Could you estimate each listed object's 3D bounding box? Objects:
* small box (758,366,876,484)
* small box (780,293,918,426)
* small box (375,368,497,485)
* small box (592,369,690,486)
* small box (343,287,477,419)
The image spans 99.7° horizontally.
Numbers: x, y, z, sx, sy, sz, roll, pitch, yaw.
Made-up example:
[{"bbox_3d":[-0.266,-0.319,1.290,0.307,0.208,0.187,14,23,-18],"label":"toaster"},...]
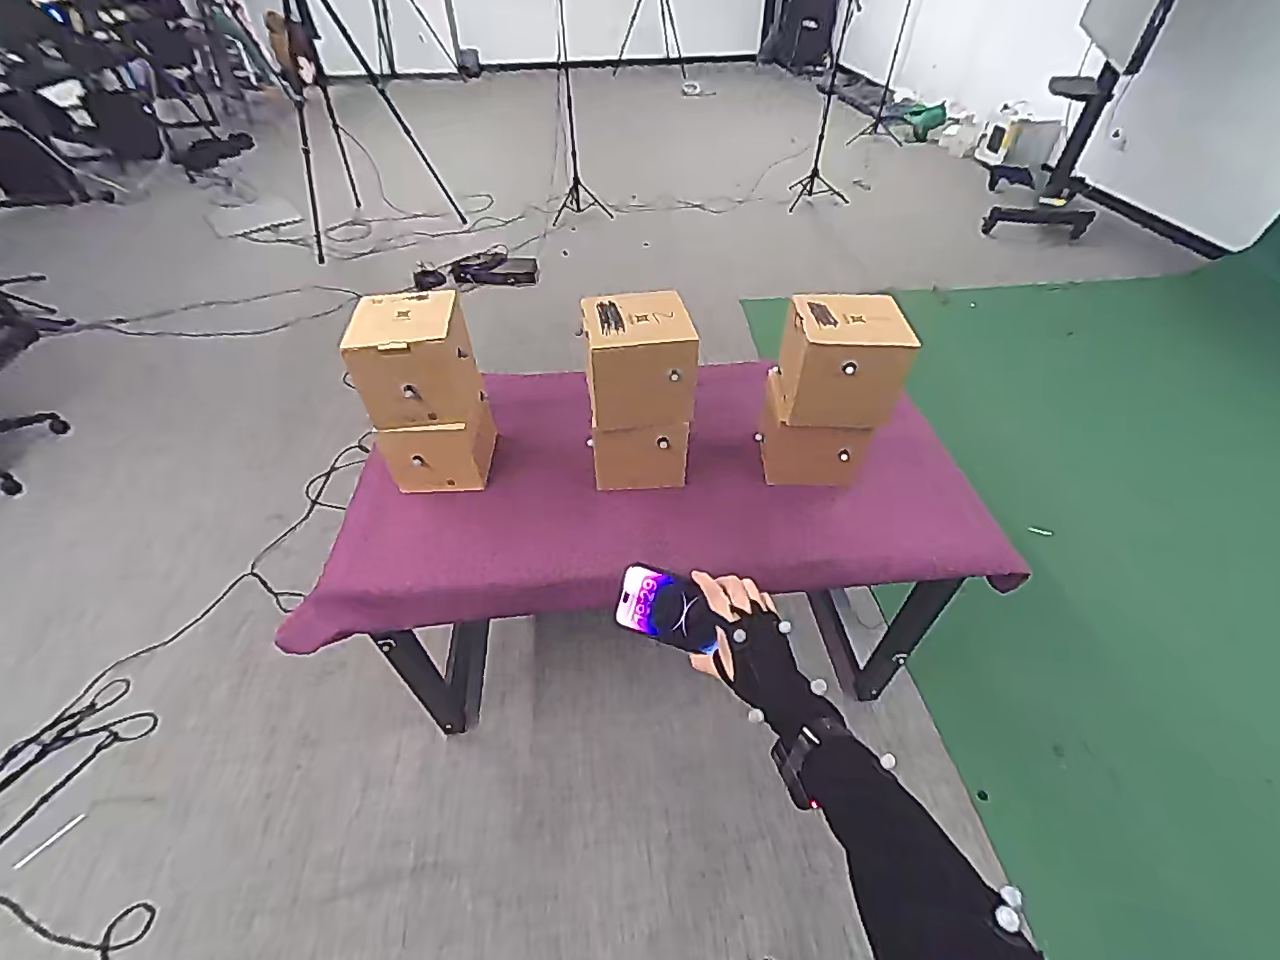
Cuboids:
[{"bbox_3d":[0.339,-0.106,1.071,0.179,0.176,0.168,2,46,3],"label":"small box"},{"bbox_3d":[0.347,-0.208,0.943,0.179,0.176,0.168,2,46,2],"label":"small box"},{"bbox_3d":[-0.392,-0.101,1.077,0.168,0.176,0.179,-2,46,-1],"label":"small box"},{"bbox_3d":[-0.001,-0.103,1.071,0.179,0.176,0.168,-2,46,-1],"label":"small box"},{"bbox_3d":[-0.394,-0.221,0.964,0.168,0.176,0.179,-5,47,-5],"label":"small box"}]
